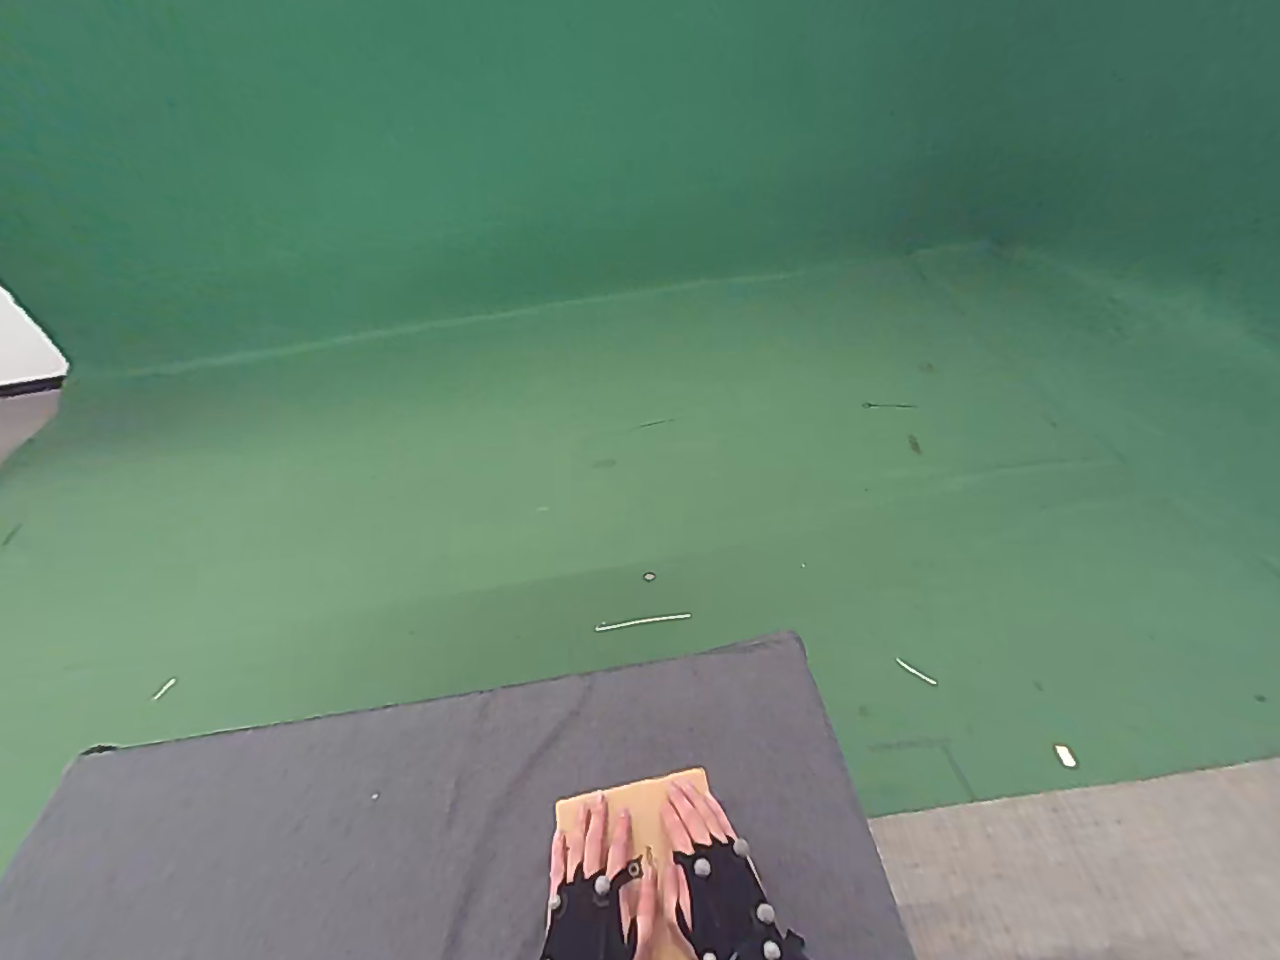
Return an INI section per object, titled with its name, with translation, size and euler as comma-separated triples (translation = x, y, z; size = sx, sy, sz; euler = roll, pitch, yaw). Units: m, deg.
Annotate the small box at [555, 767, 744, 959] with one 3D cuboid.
[small box]
translation = 0.009, 0.466, 0.631
size = 0.179, 0.176, 0.168
euler = -13, 45, -4
